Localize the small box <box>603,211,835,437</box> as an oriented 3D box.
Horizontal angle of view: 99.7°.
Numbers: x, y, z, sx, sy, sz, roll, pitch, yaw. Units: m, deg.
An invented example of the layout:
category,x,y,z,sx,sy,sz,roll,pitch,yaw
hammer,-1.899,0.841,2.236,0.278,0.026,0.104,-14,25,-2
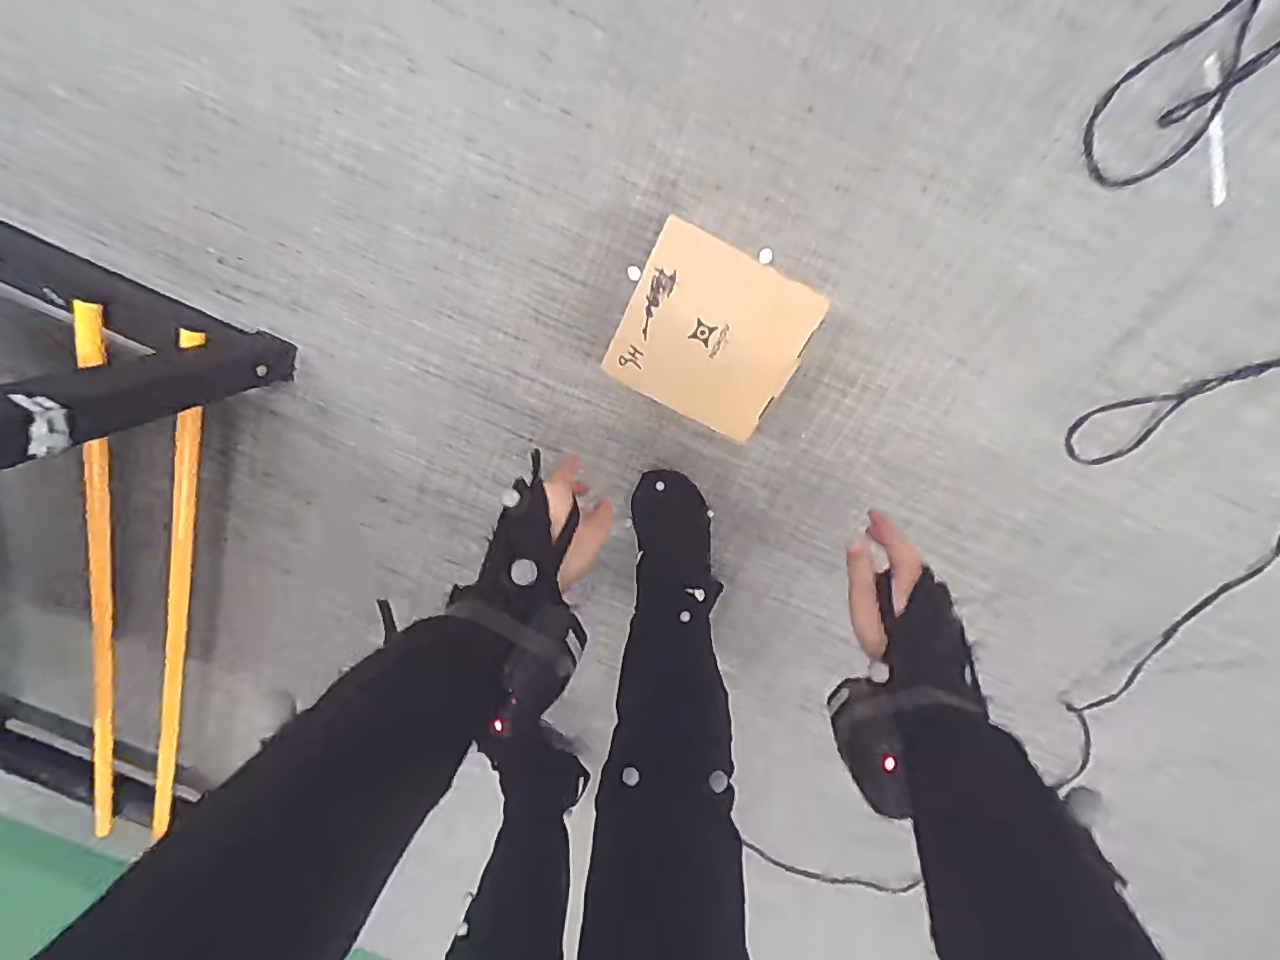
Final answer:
category,x,y,z,sx,sy,sz,roll,pitch,yaw
small box,0.082,-0.179,0.604,0.179,0.176,0.168,26,114,-5
